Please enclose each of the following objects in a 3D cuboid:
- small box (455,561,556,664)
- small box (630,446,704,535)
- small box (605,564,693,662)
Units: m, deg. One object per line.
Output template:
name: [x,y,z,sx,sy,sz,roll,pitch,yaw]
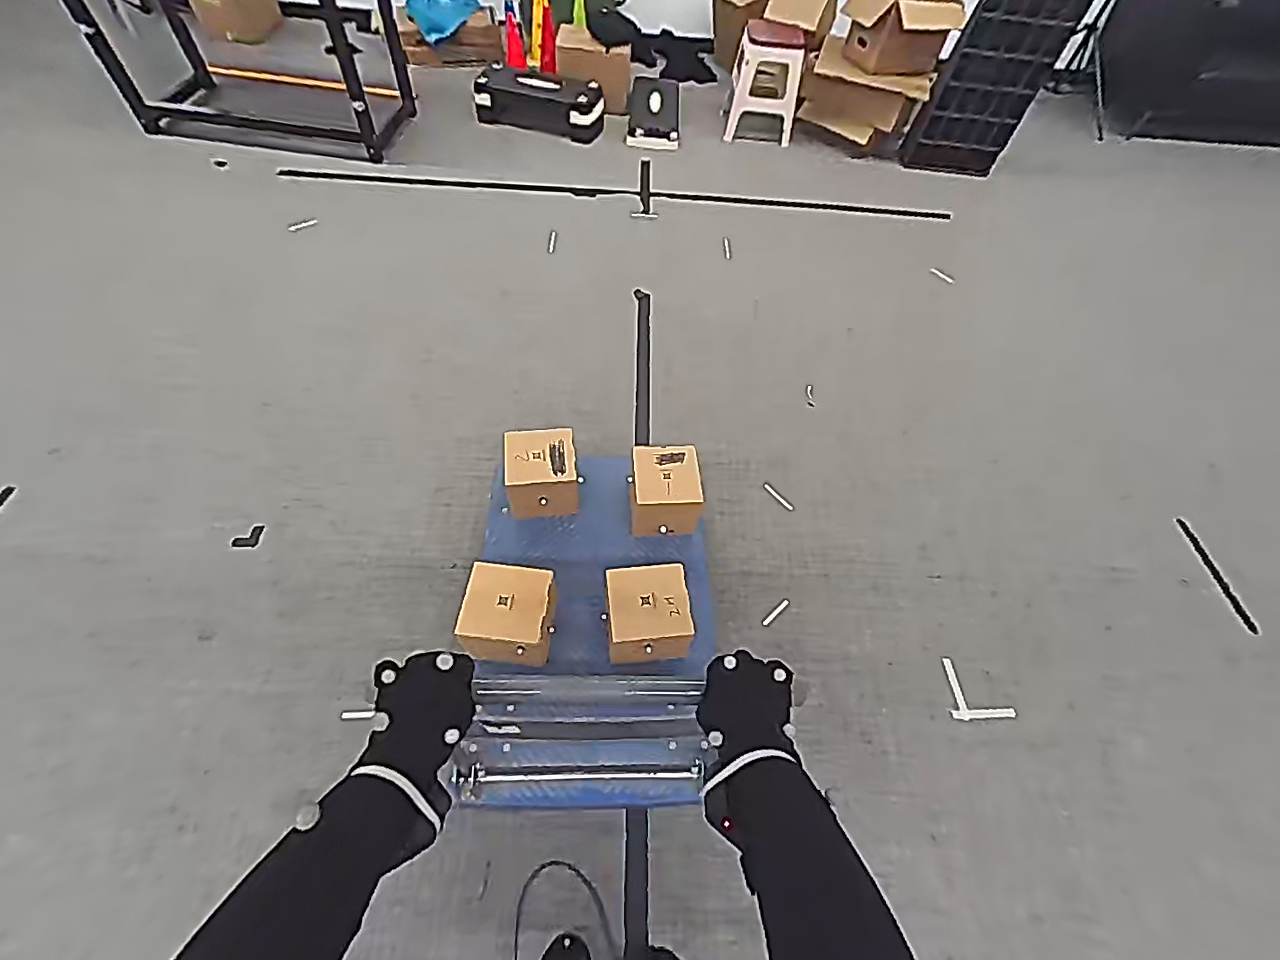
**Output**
small box: [-0.290,0.298,1.204,0.179,0.176,0.168,8,55,-2]
small box: [0.063,0.028,1.414,0.168,0.176,0.179,-1,57,-5]
small box: [0.014,0.304,1.223,0.179,0.176,0.168,-3,56,-7]
